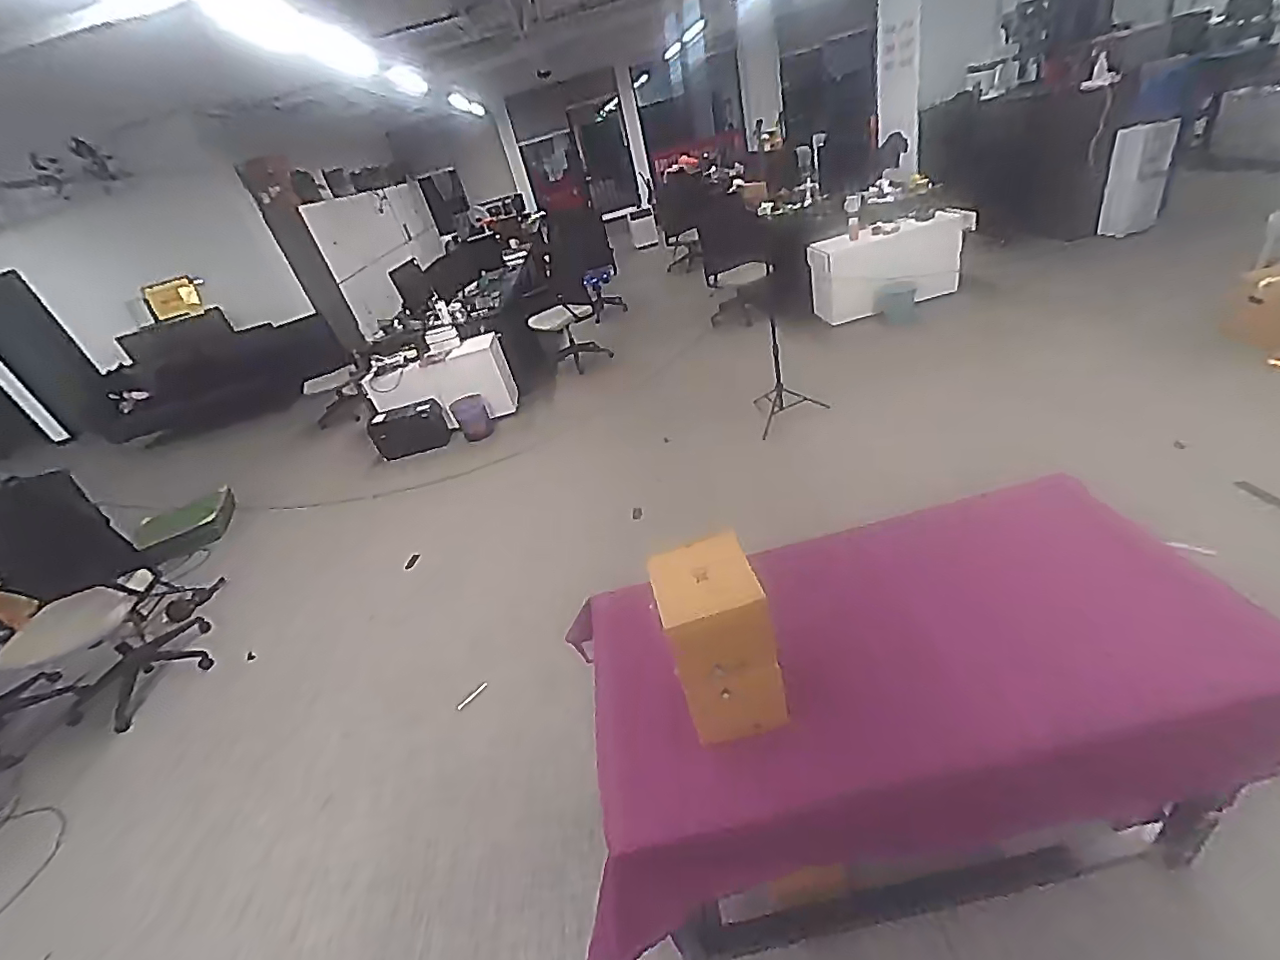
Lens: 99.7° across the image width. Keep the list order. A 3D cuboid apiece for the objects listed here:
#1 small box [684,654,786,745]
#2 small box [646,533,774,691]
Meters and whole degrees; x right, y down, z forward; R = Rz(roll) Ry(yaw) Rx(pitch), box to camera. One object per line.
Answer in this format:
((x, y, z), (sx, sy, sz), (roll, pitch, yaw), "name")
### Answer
((0.163, 0.358, 1.017), (0.168, 0.176, 0.179), (-16, 32, 1), "small box")
((0.119, 0.225, 0.932), (0.168, 0.176, 0.179), (-17, 32, -1), "small box")
